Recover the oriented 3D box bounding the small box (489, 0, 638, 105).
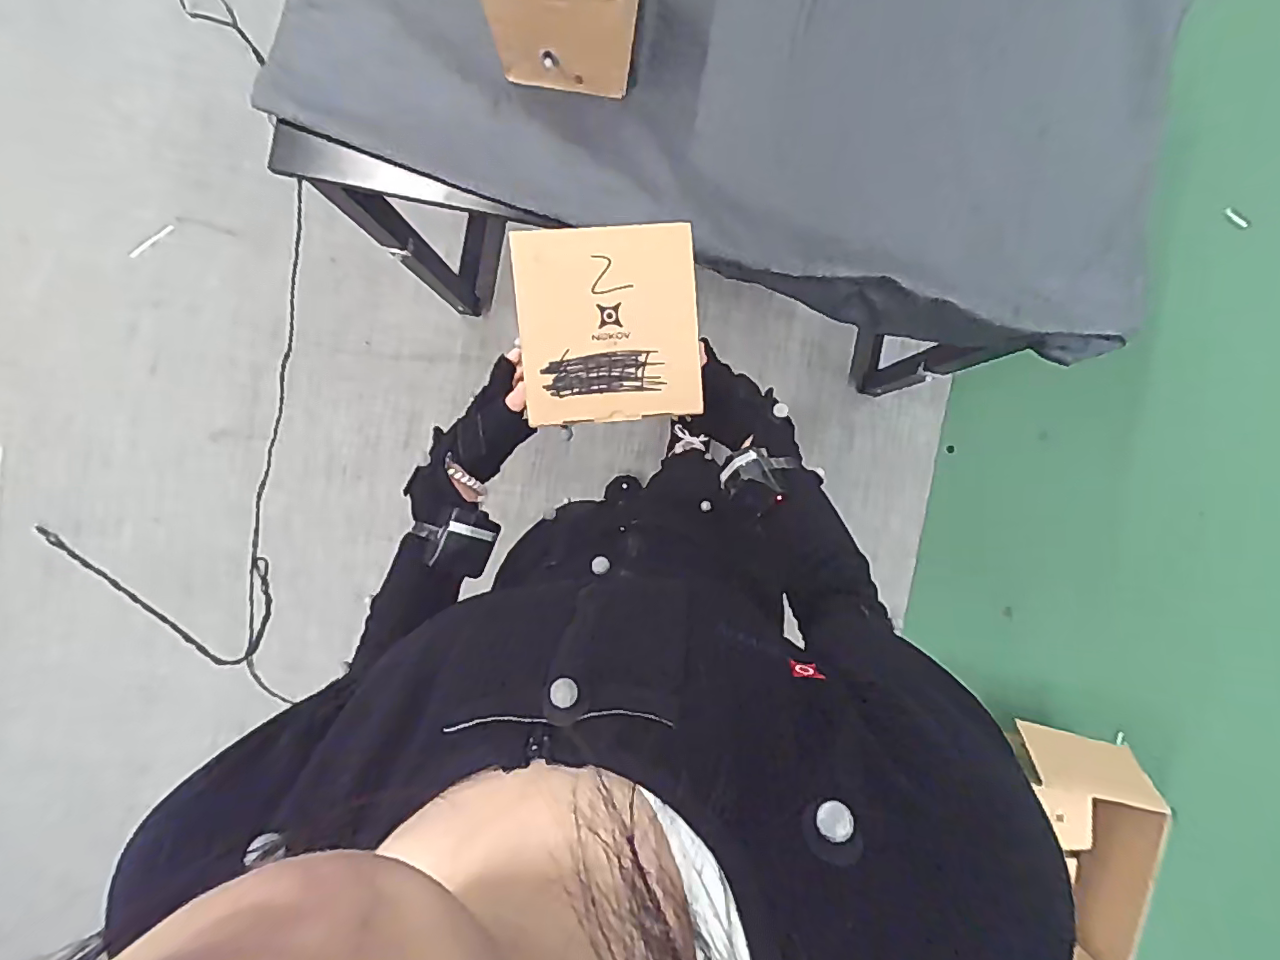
[{"bbox_3d":[-0.090,-0.624,0.680,0.168,0.176,0.179,9,91,-1],"label":"small box"}]
